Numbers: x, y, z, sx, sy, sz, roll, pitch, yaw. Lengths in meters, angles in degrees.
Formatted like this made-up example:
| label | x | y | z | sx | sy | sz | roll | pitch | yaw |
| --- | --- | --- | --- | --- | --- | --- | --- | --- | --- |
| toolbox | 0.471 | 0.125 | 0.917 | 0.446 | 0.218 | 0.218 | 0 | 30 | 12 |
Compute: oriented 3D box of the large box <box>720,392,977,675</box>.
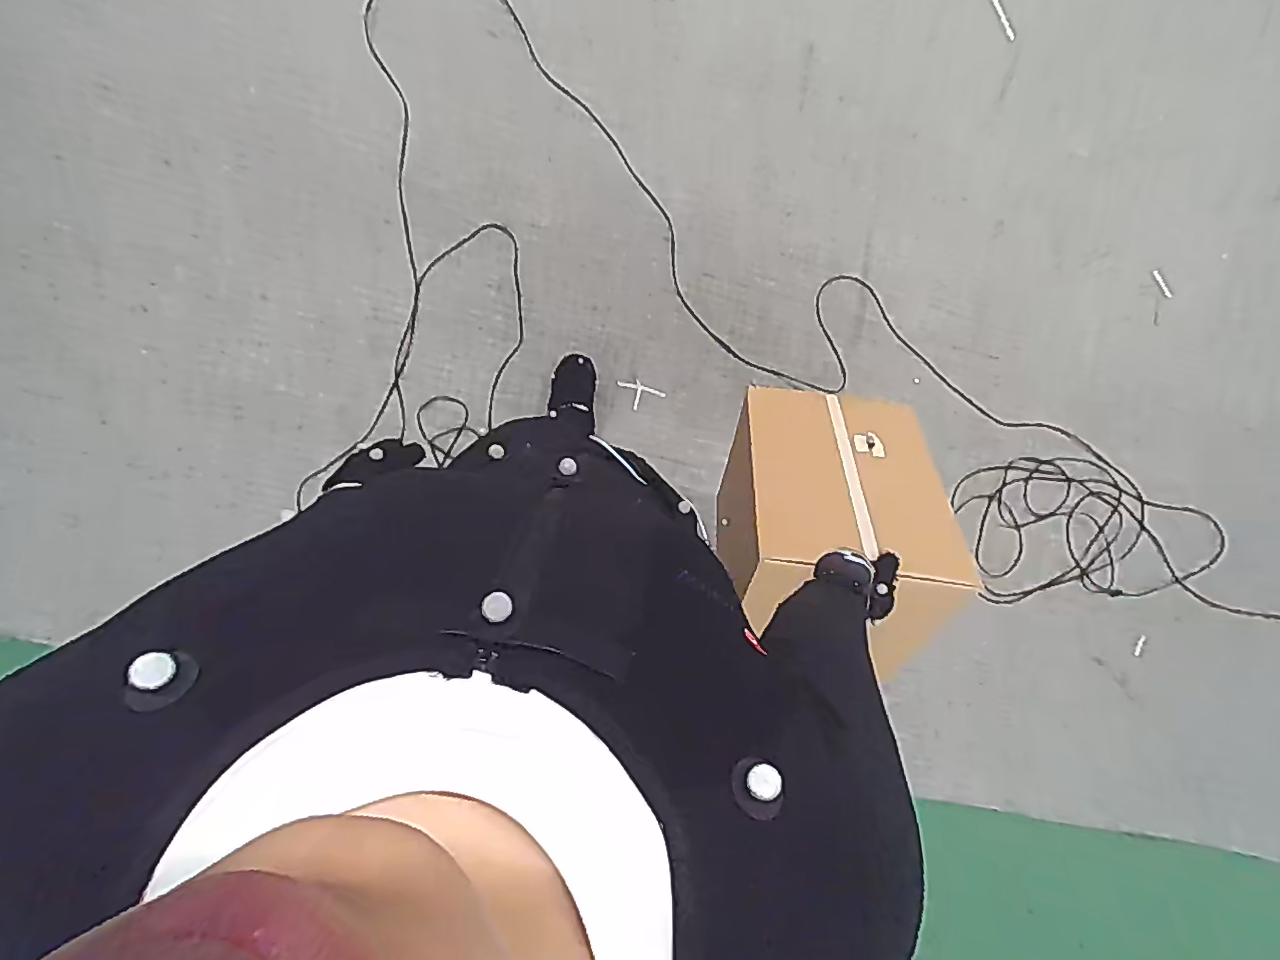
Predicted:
| label | x | y | z | sx | sy | sz | roll | pitch | yaw |
| --- | --- | --- | --- | --- | --- | --- | --- | --- | --- |
| large box | 0.326 | 0.093 | 0.997 | 0.320 | 0.408 | 0.320 | 8 | 135 | 0 |
